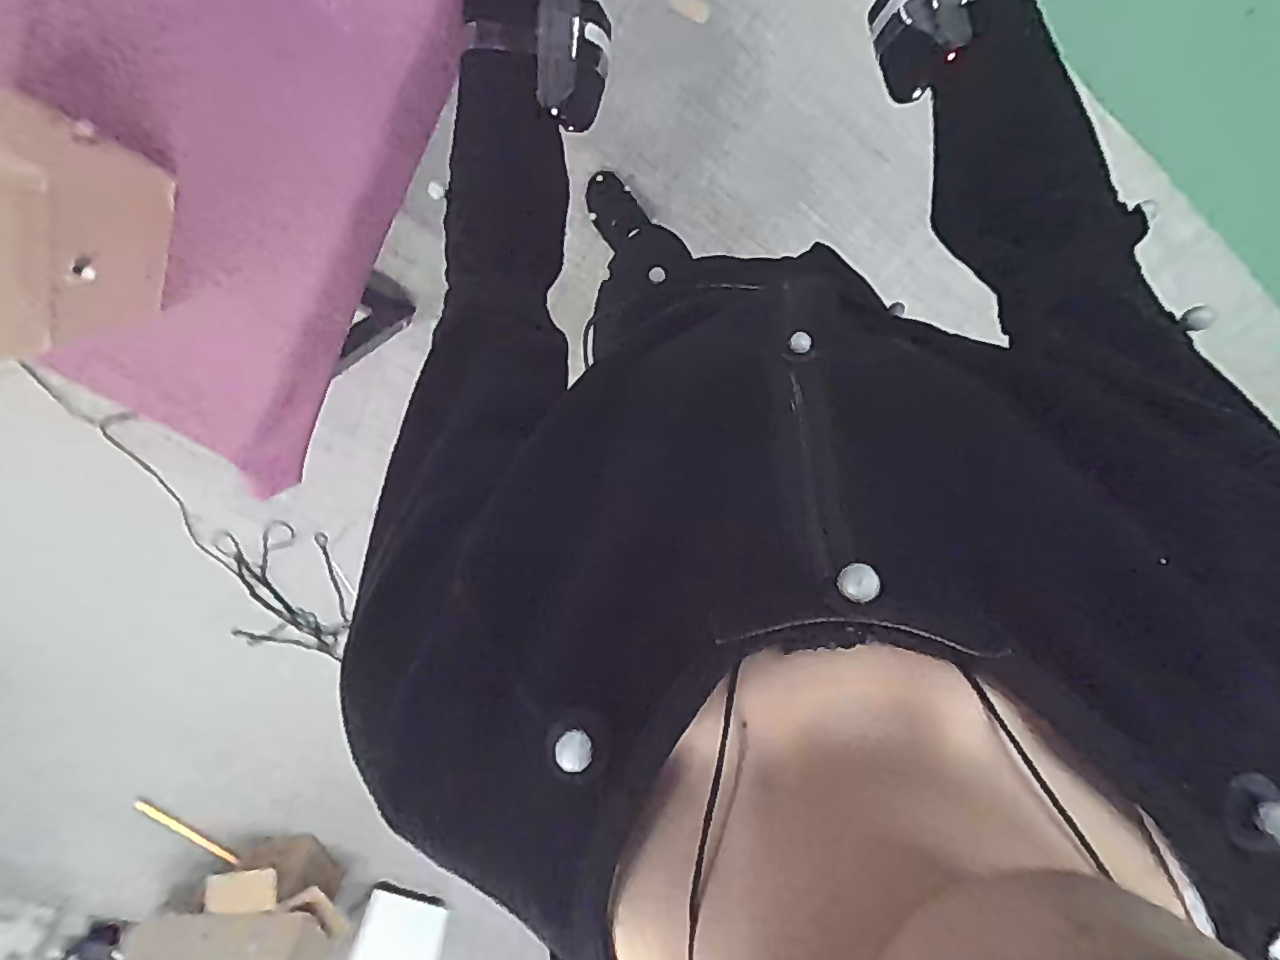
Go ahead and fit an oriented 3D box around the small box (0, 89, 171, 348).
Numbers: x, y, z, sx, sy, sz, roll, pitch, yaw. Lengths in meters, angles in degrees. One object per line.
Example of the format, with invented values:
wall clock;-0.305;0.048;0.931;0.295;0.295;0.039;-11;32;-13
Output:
small box;-0.622;-0.266;0.542;0.168;0.176;0.179;25;115;-16
